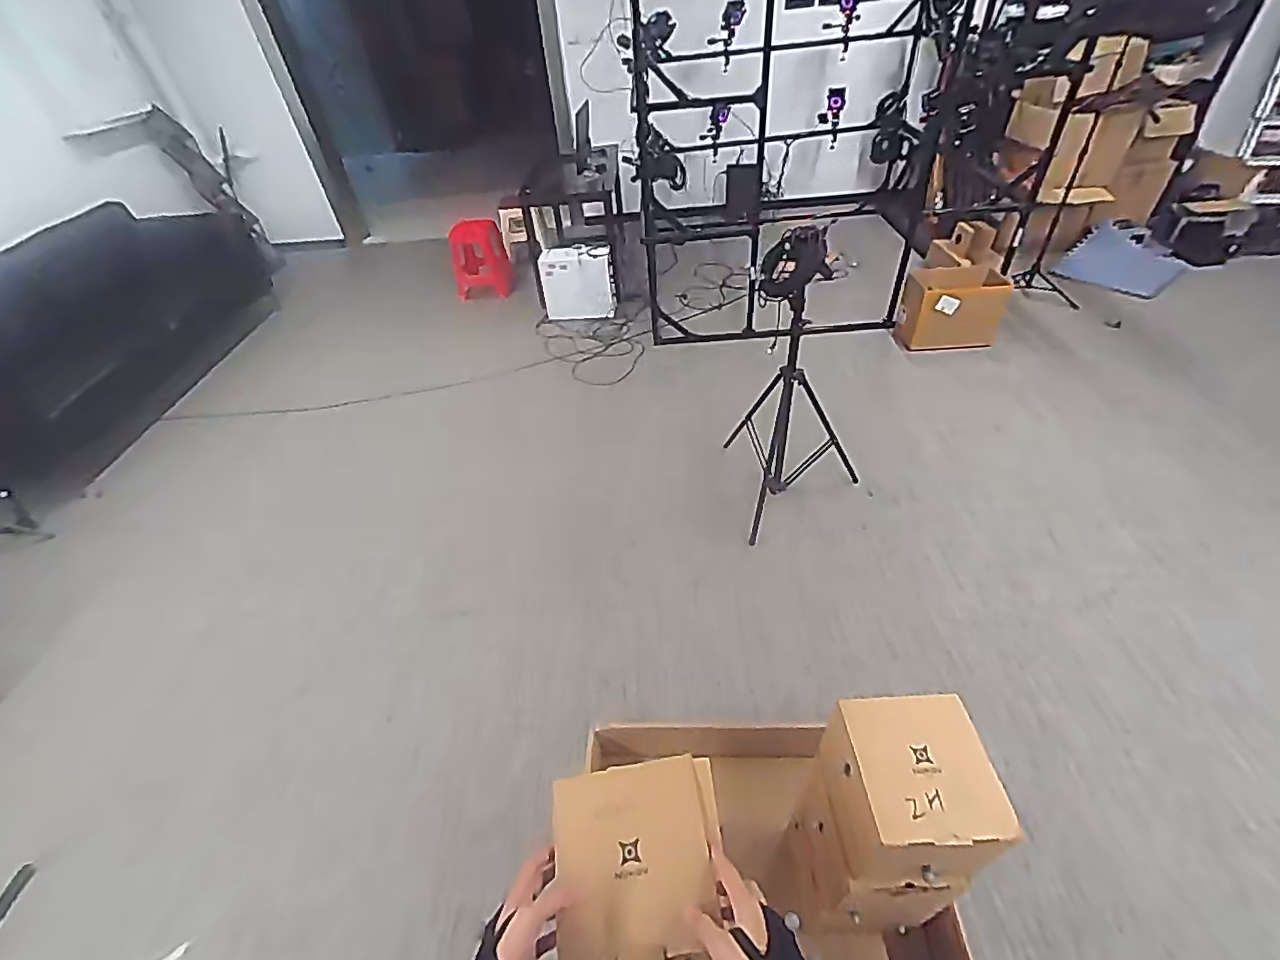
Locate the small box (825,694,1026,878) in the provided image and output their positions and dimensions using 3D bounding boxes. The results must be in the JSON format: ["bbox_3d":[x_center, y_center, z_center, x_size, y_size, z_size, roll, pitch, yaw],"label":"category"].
[{"bbox_3d":[0.364,0.415,0.734,0.168,0.176,0.179,-4,43,2],"label":"small box"}]

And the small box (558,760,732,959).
[{"bbox_3d":[0.008,0.449,0.625,0.168,0.176,0.179,-11,49,1],"label":"small box"}]

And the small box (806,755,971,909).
[{"bbox_3d":[0.367,0.544,0.837,0.168,0.176,0.179,-3,42,2],"label":"small box"}]

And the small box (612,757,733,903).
[{"bbox_3d":[0.046,0.565,0.853,0.168,0.176,0.179,-6,44,0],"label":"small box"}]
